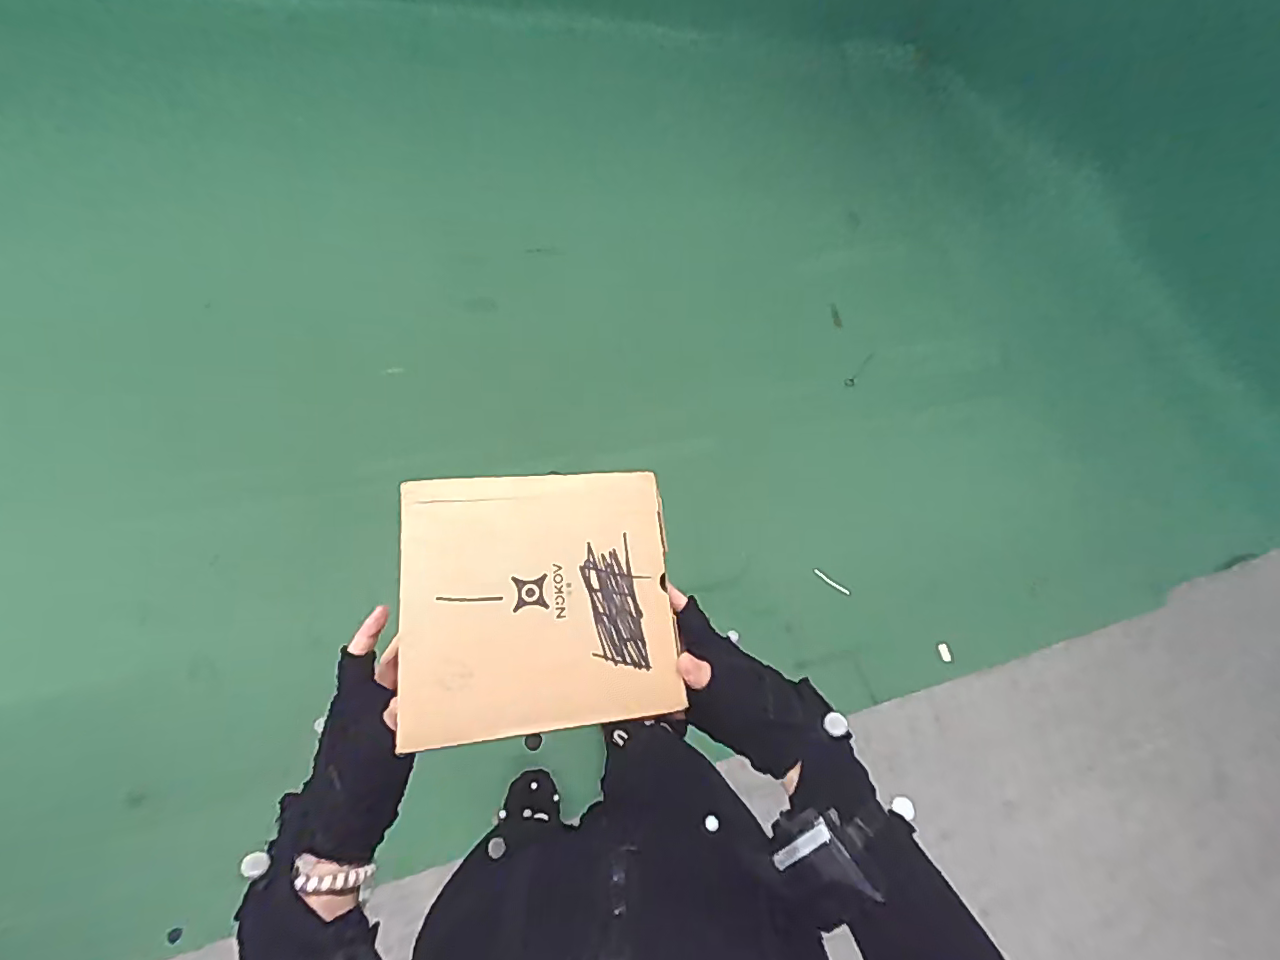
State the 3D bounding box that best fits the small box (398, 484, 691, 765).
[{"bbox_3d":[-0.078,0.107,0.419,0.179,0.176,0.168,-2,70,-15],"label":"small box"}]
